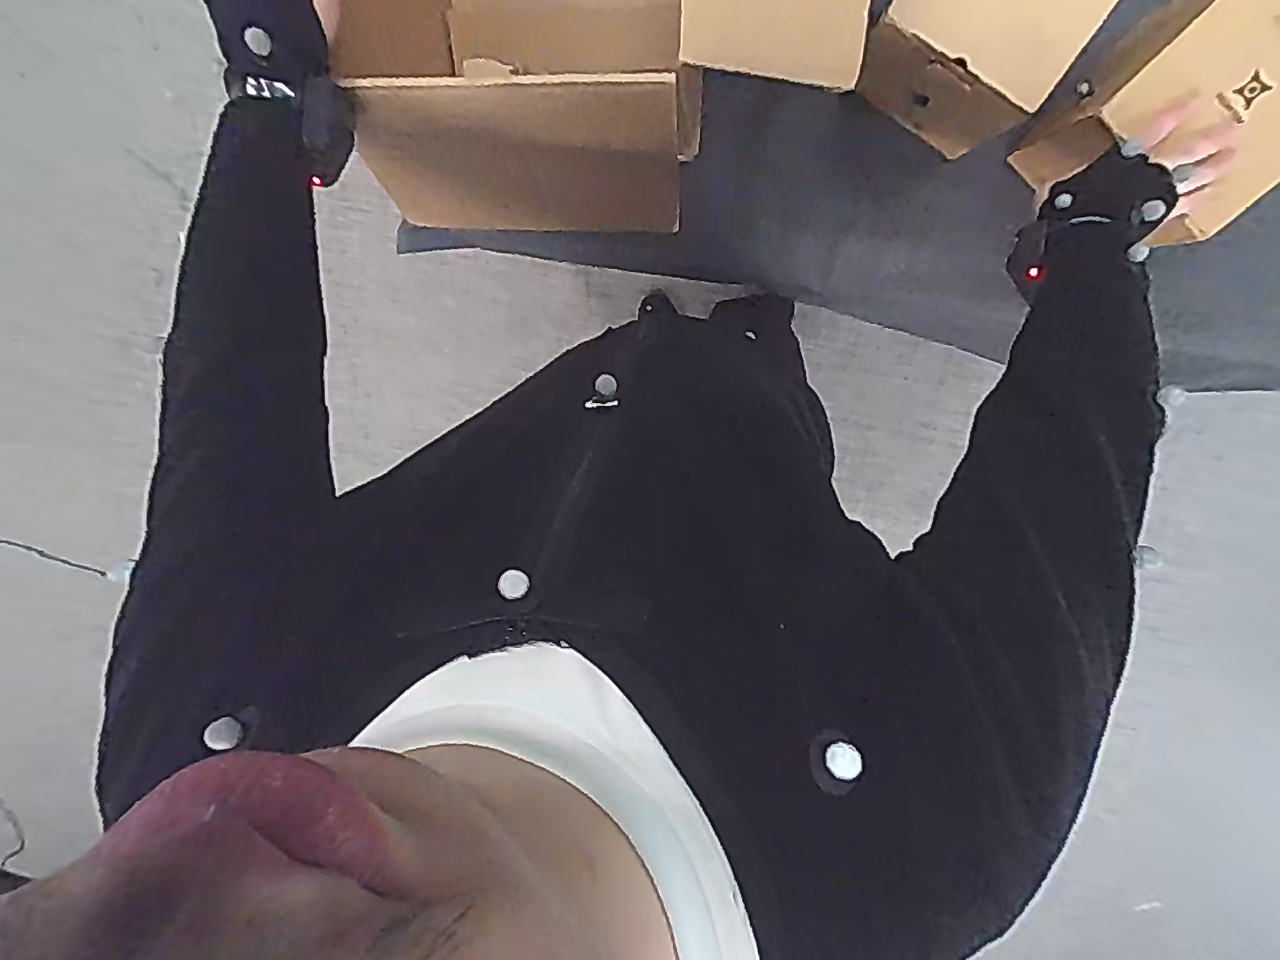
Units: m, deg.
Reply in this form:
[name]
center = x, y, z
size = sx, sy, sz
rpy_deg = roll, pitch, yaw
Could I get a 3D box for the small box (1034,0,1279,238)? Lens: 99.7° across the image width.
[small box]
center = 0.546, -0.368, 0.541
size = 0.168, 0.176, 0.179
rpy_deg = 40, 109, -8
